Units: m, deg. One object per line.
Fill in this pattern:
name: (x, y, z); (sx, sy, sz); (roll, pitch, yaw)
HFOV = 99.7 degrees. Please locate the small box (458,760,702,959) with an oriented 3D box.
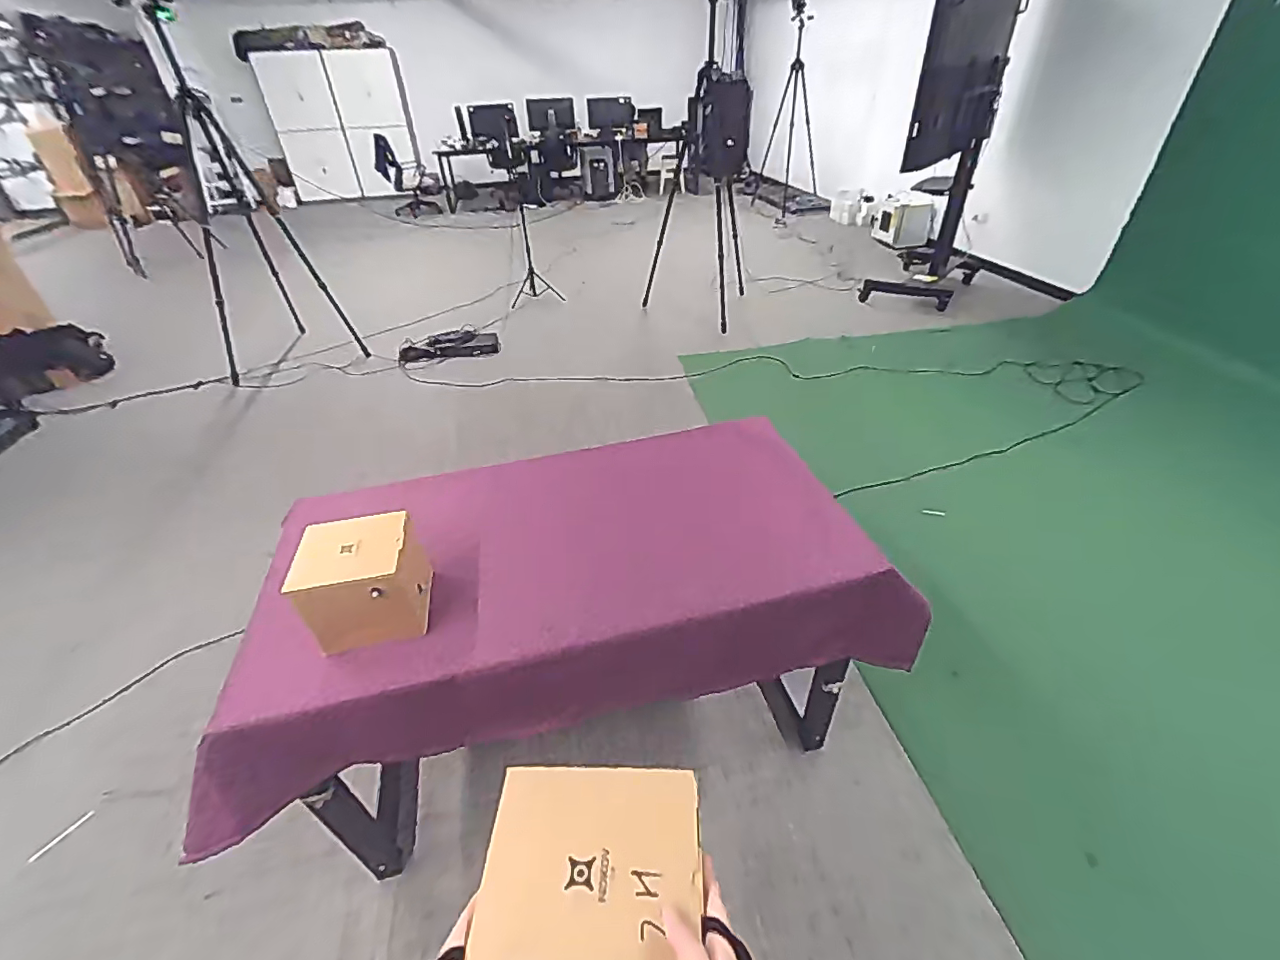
small box: (-0.035, 0.372, 0.477); (0.179, 0.176, 0.168); (-1, 37, 5)

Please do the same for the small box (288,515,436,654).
small box: (-0.487, 0.189, 0.976); (0.179, 0.176, 0.168); (-9, 37, -9)
